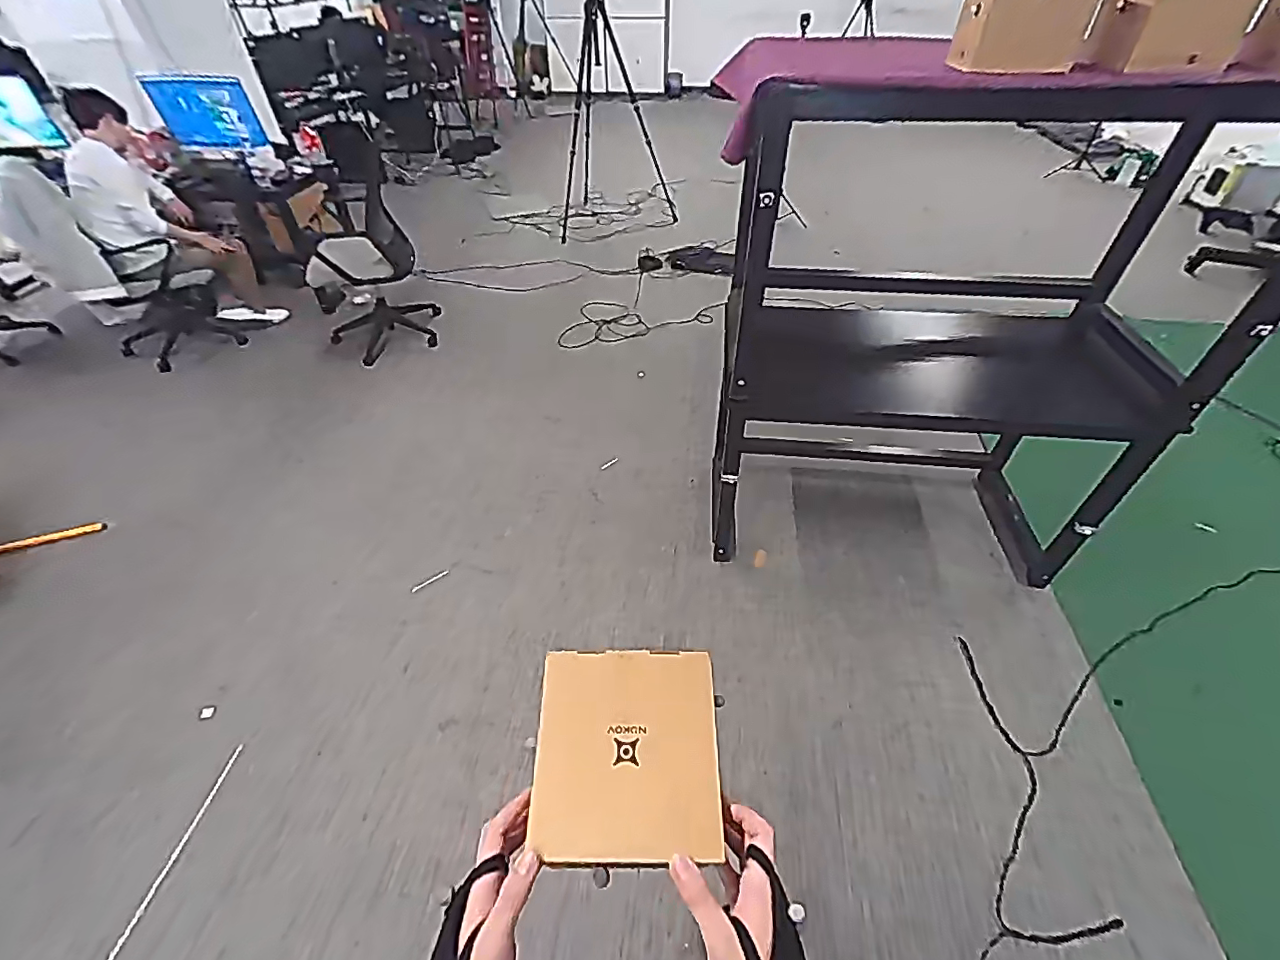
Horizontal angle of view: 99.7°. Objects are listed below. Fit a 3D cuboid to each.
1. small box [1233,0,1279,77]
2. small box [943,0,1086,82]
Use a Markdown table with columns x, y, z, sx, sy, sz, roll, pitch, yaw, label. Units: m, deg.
| x | y | z | sx | sy | sz | roll | pitch | yaw | label |
| --- | --- | --- | --- | --- | --- | --- | --- | --- | --- |
| 1.200 | -0.808 | 0.930 | 0.179 | 0.176 | 0.168 | 6 | 45 | 9 | small box |
| 0.677 | -0.836 | 0.983 | 0.179 | 0.176 | 0.168 | 6 | 43 | 8 | small box |
